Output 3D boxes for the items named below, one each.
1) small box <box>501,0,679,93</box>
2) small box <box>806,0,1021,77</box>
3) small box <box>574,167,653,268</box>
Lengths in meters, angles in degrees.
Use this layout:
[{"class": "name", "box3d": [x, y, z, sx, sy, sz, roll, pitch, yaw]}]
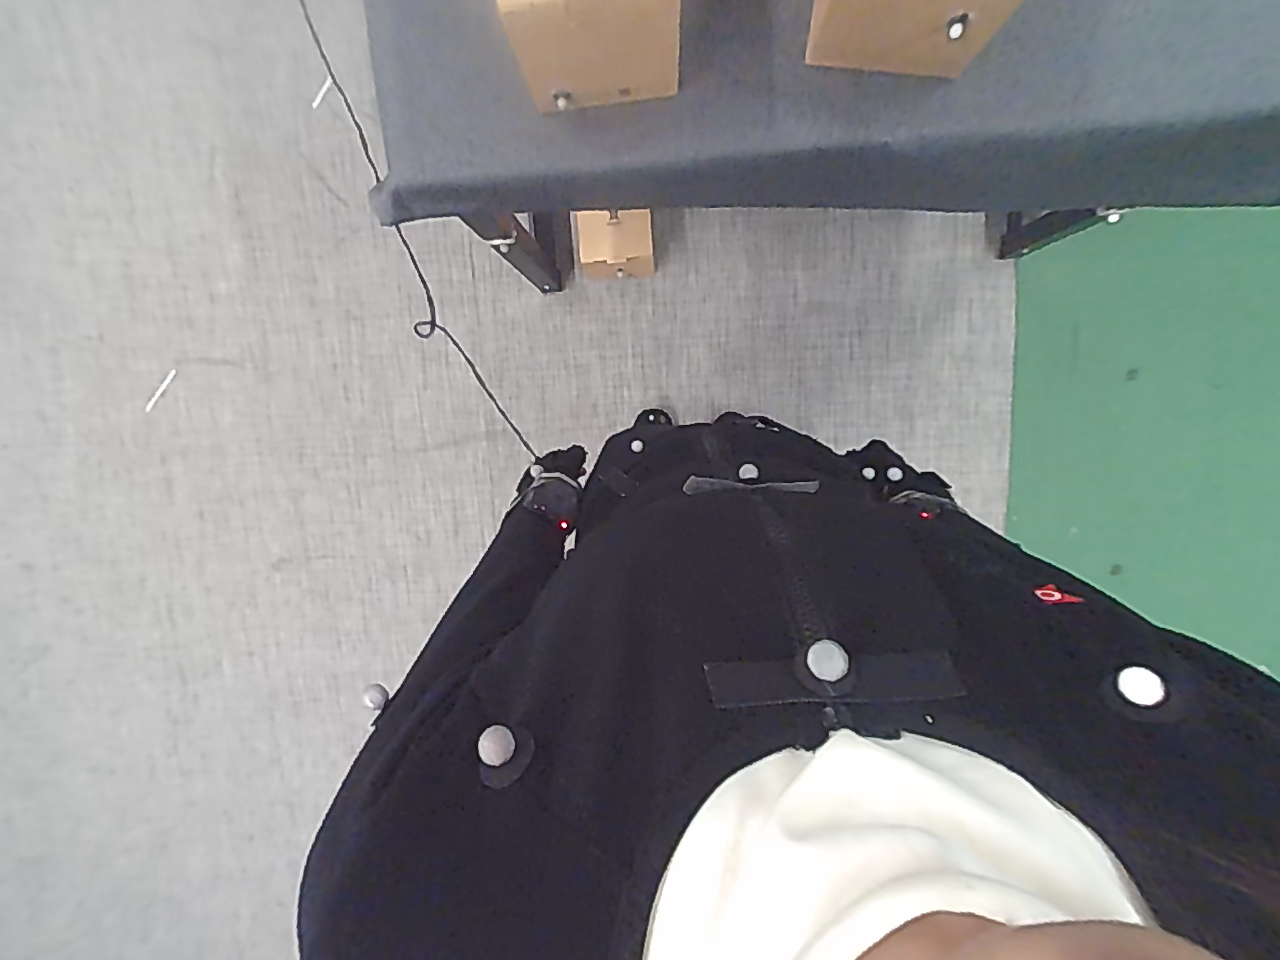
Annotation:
[{"class": "small box", "box3d": [-0.047, -0.526, 0.546, 0.168, 0.176, 0.179, -5, 96, 2]}, {"class": "small box", "box3d": [0.283, -0.540, 0.534, 0.179, 0.176, 0.168, 8, 97, 2]}, {"class": "small box", "box3d": [-0.057, -0.607, 1.274, 0.168, 0.176, 0.179, -3, 99, 3]}]
